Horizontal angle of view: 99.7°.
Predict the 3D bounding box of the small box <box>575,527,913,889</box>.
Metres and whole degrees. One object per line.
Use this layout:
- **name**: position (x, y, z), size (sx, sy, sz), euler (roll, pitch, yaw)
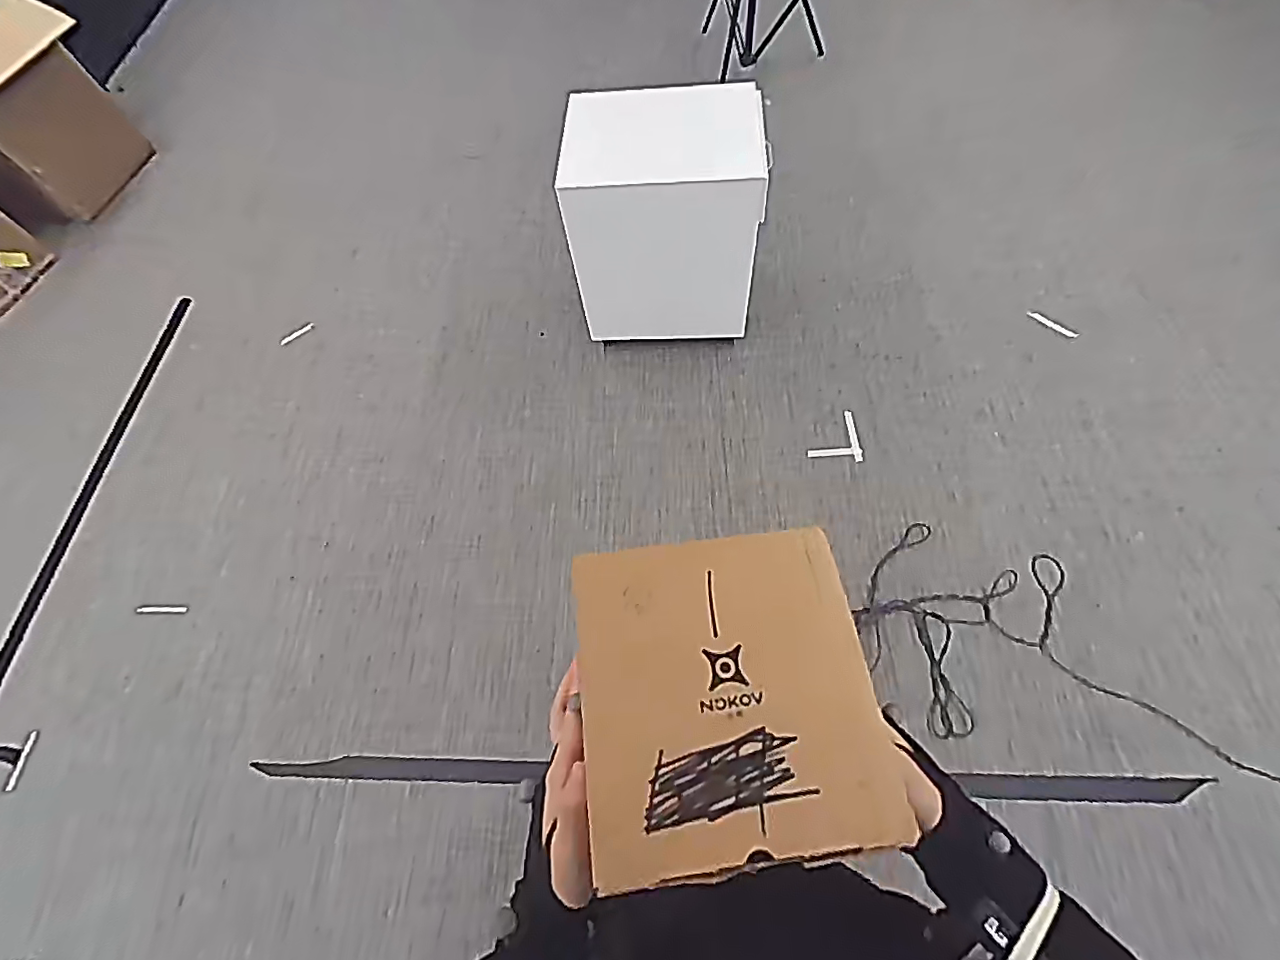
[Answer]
- **small box**: position (0.049, 0.152, 0.376), size (0.168, 0.176, 0.179), euler (-6, 62, -4)
